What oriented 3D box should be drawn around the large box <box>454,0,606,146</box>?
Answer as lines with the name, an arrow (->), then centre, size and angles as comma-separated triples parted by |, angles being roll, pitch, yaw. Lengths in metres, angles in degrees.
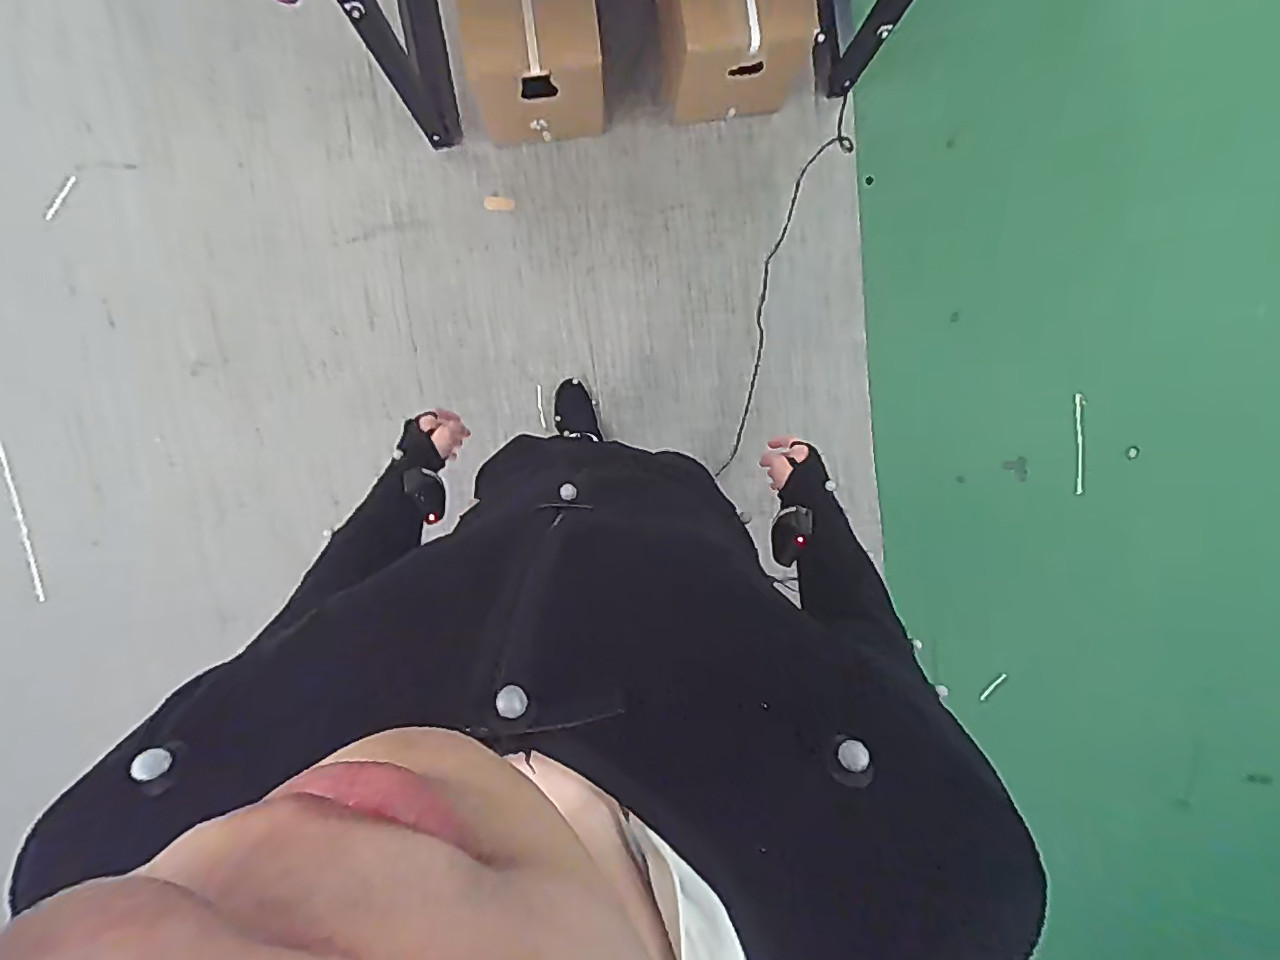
large box -> -0.268, -1.126, 1.339 | 0.320, 0.320, 0.408 | -8, 96, -2
